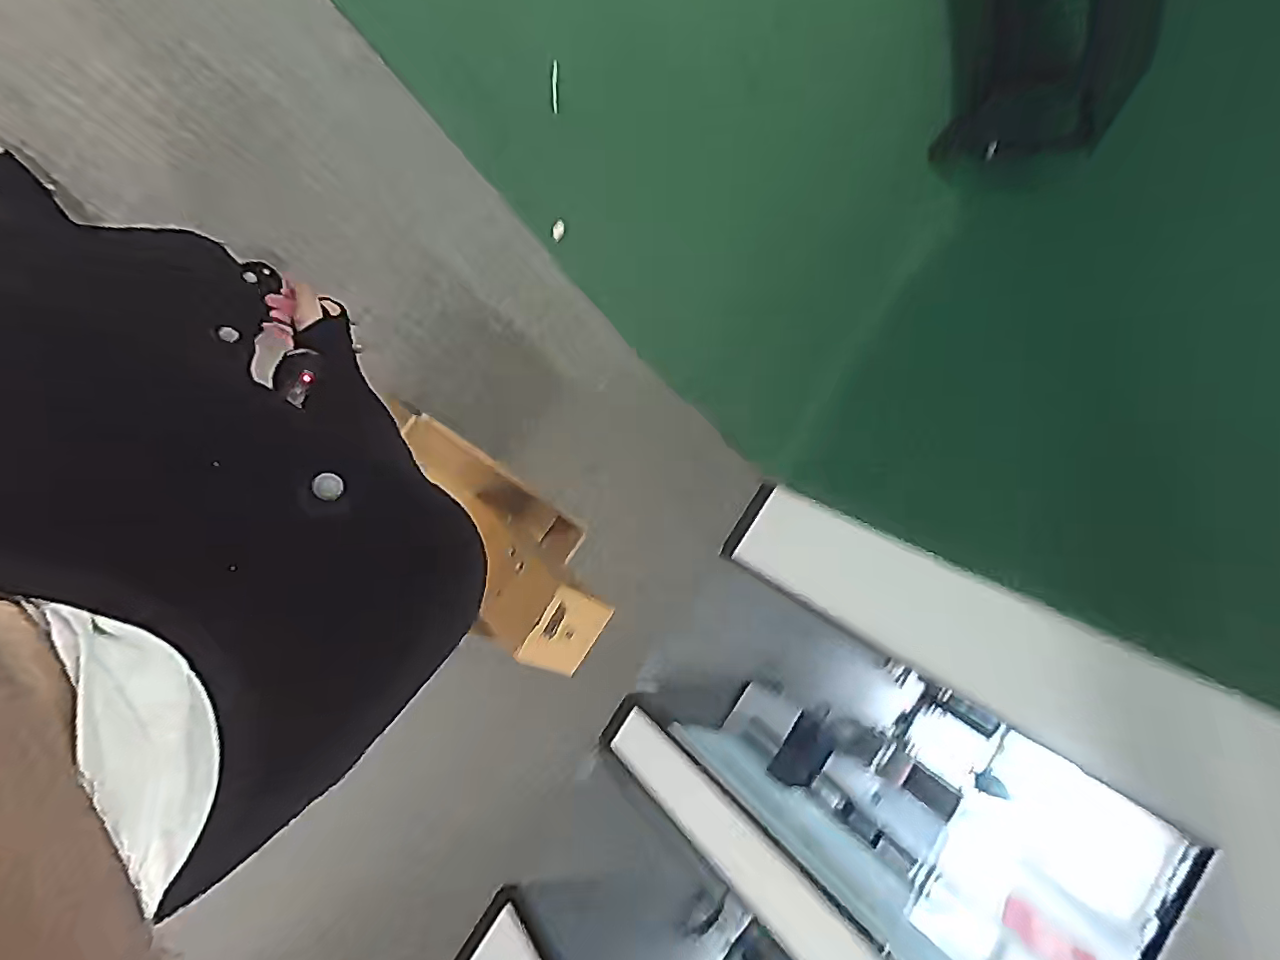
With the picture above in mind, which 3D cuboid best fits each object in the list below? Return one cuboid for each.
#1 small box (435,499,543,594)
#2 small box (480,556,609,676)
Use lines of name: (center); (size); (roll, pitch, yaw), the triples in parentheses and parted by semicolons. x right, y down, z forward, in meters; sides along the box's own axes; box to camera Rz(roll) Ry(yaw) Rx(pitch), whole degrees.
small box: (-0.392, 0.174, 1.396); (0.168, 0.176, 0.179); (-53, 134, -6)
small box: (-0.206, 0.282, 1.147); (0.168, 0.176, 0.179); (-55, 135, -4)
